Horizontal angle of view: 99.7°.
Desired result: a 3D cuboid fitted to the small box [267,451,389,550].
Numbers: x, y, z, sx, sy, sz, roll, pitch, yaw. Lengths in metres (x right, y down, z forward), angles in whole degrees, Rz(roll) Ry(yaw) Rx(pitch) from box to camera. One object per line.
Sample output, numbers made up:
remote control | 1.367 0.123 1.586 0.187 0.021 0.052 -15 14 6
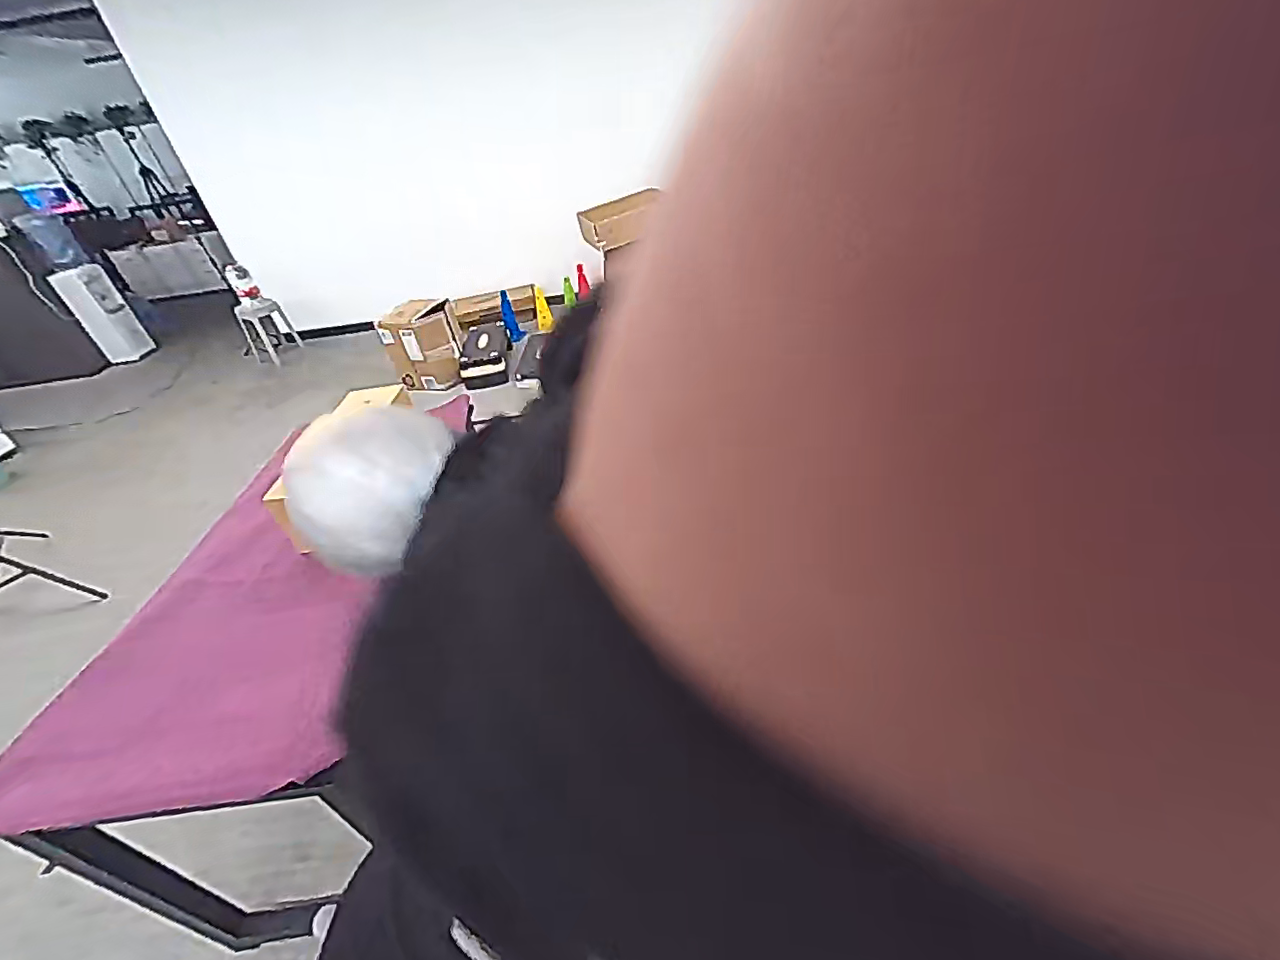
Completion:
small box | -0.734 0.055 1.299 0.168 0.176 0.179 -6 36 3

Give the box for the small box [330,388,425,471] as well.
small box | -0.749 -0.145 1.569 0.168 0.176 0.179 -7 38 4
